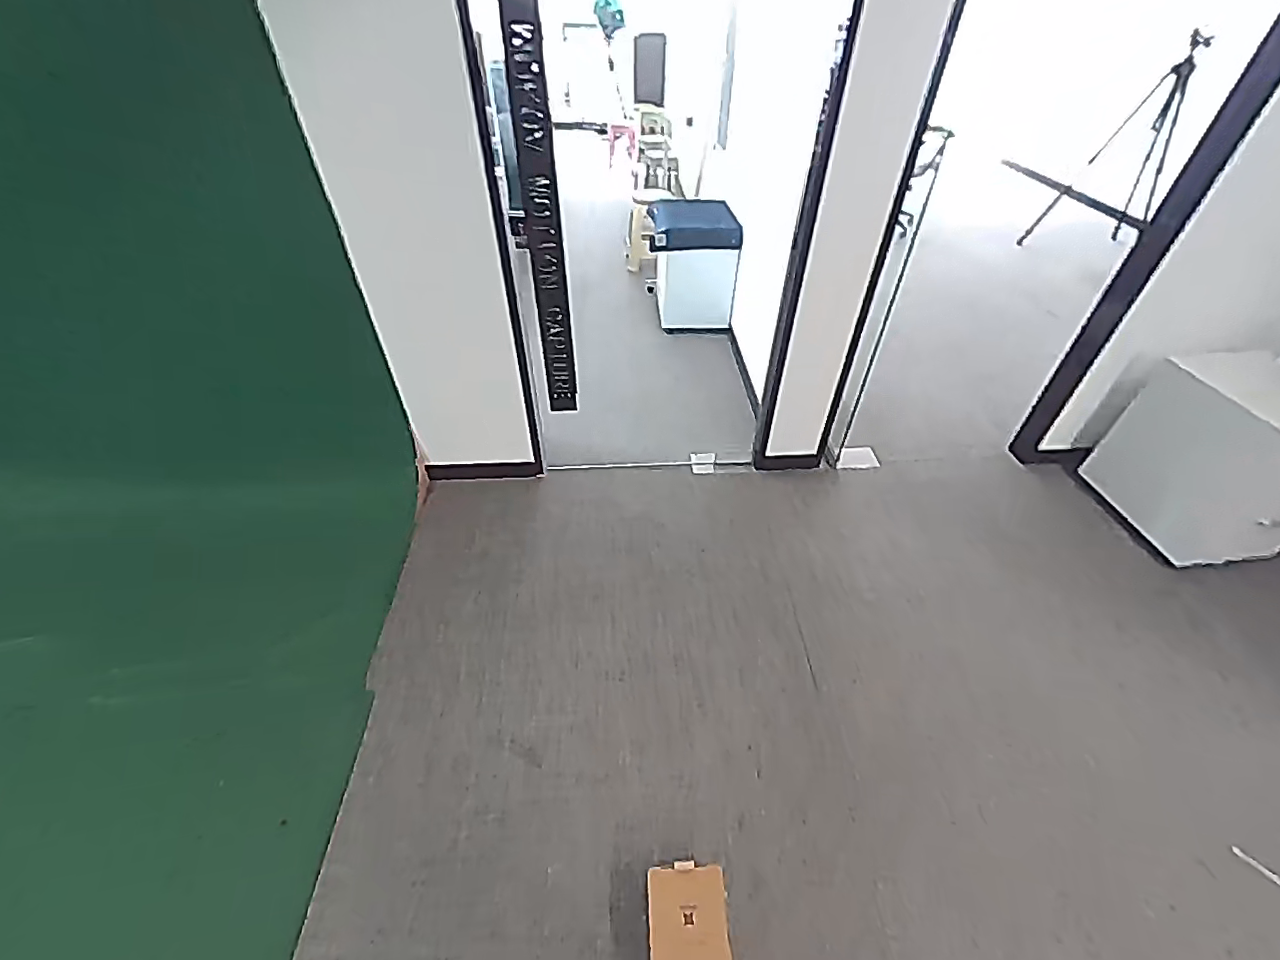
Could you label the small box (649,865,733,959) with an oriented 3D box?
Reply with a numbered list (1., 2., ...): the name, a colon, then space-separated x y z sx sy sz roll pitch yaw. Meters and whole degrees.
1. small box: 0.103 0.955 1.163 0.168 0.176 0.179 -1 44 1
